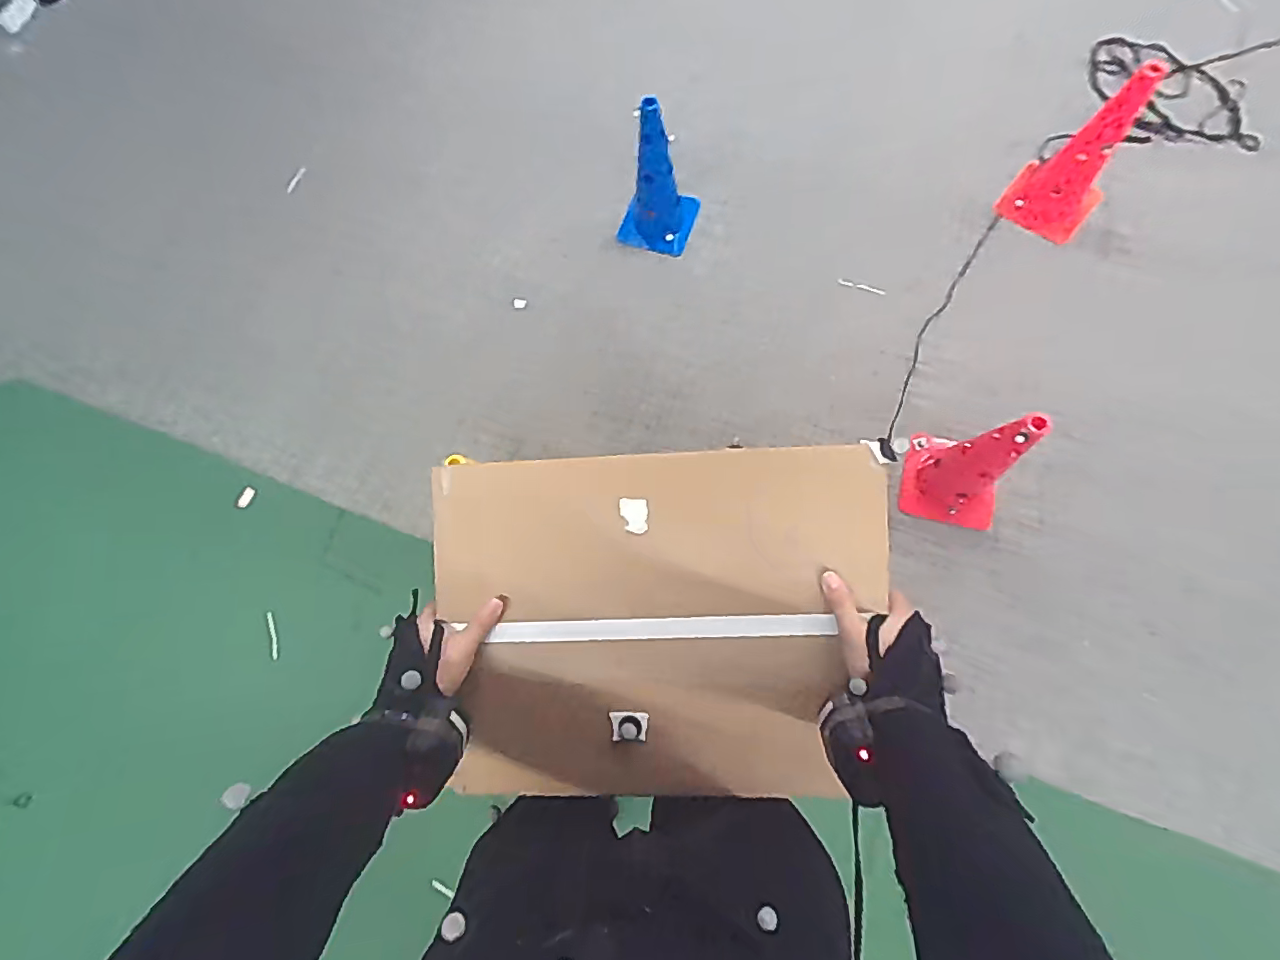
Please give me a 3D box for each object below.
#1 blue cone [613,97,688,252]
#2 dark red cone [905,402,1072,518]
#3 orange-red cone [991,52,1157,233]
[{"bbox_3d":[0.012,-0.783,1.378,0.192,0.380,0.193,19,76,12],"label":"blue cone"},{"bbox_3d":[0.681,-0.063,1.041,0.202,0.394,0.201,11,78,10],"label":"dark red cone"},{"bbox_3d":[1.032,-0.794,1.245,0.199,0.360,0.198,39,82,14],"label":"orange-red cone"}]
